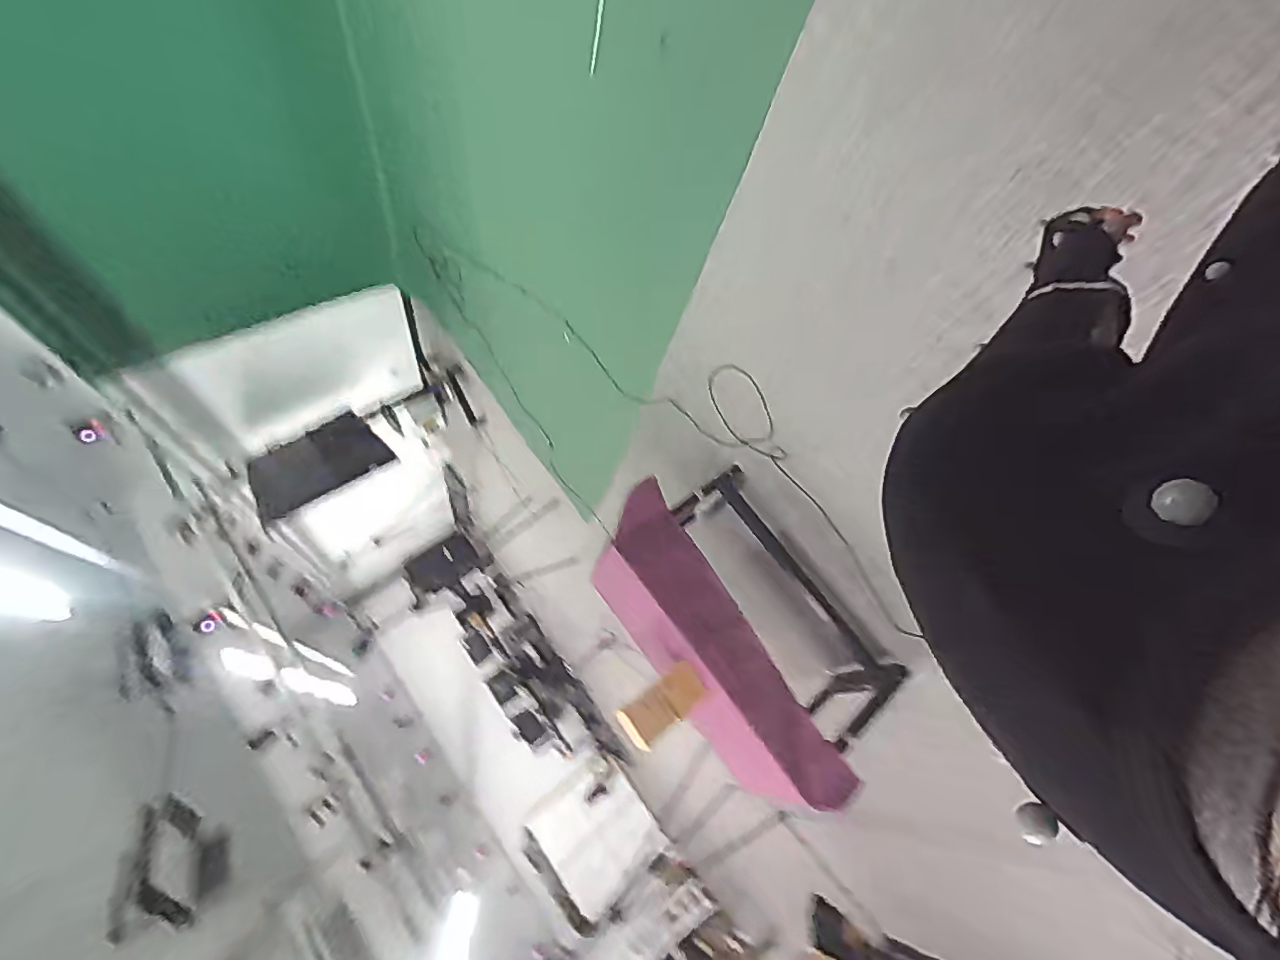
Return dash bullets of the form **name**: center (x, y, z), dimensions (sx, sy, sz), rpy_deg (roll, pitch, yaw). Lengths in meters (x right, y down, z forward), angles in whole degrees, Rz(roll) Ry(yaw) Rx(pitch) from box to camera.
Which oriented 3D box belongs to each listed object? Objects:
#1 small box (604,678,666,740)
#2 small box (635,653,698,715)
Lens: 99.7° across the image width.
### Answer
- **small box**: center (-0.017, 0.913, 2.162), dimensions (0.168, 0.176, 0.179), rpy_deg (54, 155, 12)
- **small box**: center (0.112, 0.841, 2.231), dimensions (0.179, 0.176, 0.168), rpy_deg (54, 154, 11)
